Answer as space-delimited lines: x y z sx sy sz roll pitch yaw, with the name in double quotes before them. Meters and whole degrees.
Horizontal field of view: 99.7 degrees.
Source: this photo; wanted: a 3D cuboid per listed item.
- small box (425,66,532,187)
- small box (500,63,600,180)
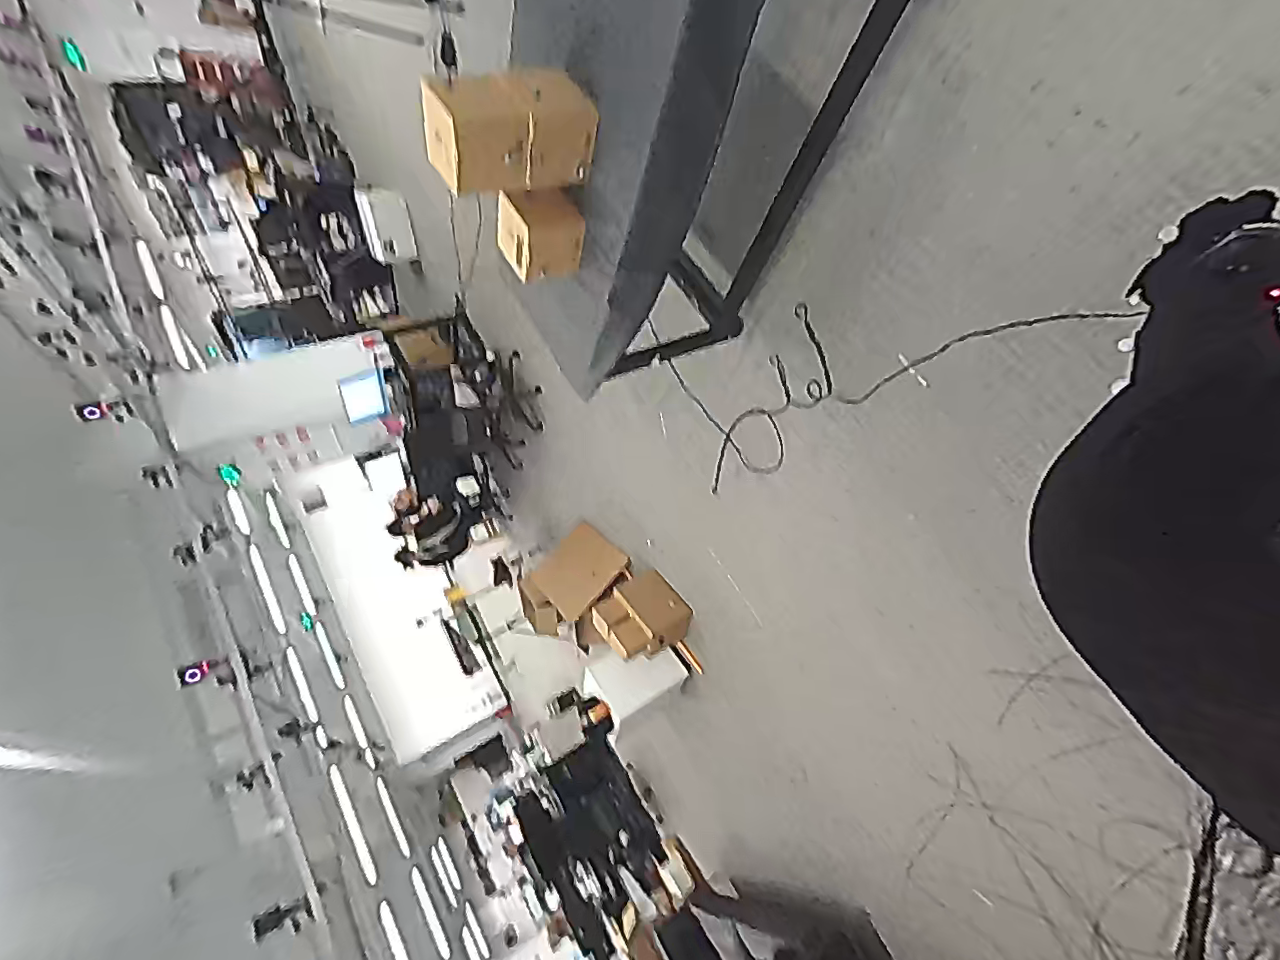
"small box" -0.356 -0.784 1.200 0.179 0.176 0.168 55 152 20
"small box" -0.212 -0.838 1.259 0.179 0.176 0.168 57 151 19
